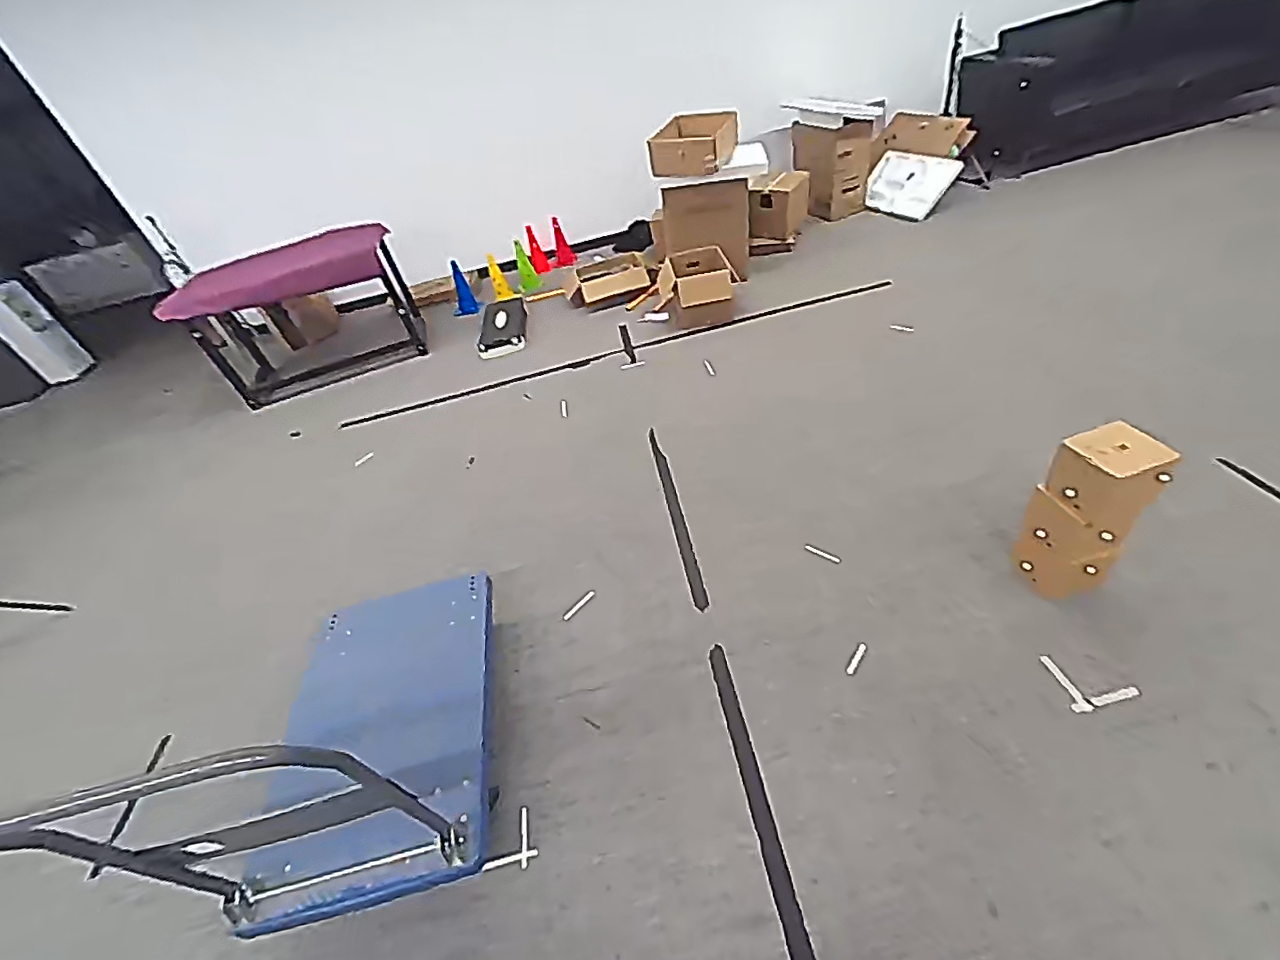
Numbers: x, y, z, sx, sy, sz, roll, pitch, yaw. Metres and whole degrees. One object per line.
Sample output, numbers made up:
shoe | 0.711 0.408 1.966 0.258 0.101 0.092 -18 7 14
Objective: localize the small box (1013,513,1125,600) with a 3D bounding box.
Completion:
small box | 1.254 0.227 1.597 0.179 0.176 0.168 -16 41 -1

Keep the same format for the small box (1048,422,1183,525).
small box | 1.198 -0.015 1.380 0.179 0.176 0.168 -19 40 -3
